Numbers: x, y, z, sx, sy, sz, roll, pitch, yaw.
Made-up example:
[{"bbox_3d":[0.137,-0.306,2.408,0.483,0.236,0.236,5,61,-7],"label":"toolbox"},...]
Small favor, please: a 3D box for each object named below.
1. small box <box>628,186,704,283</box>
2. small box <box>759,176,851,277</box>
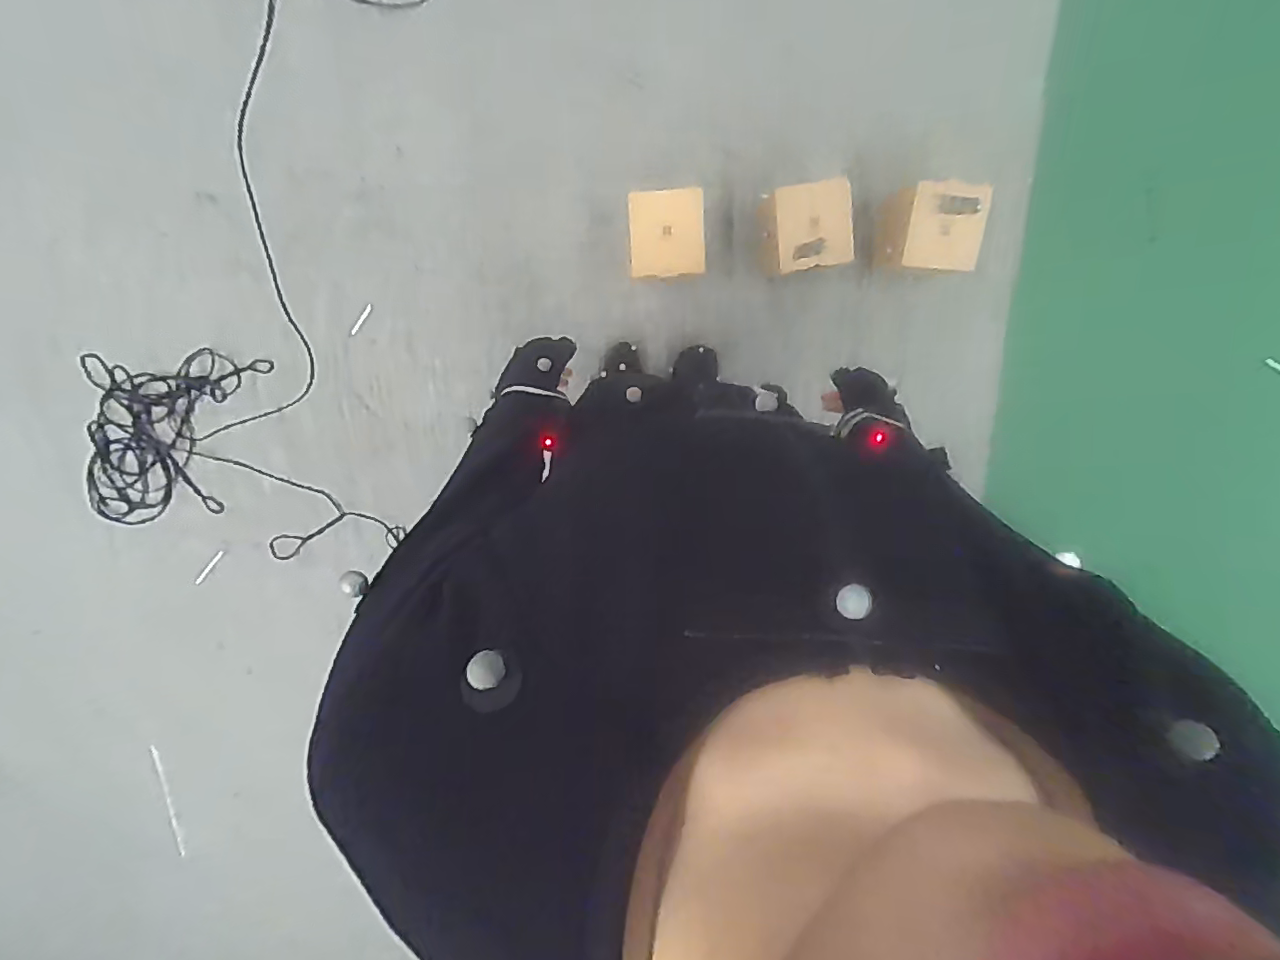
[{"bbox_3d":[0.058,-0.563,1.259,0.168,0.176,0.179,-3,105,3],"label":"small box"},{"bbox_3d":[0.376,-0.573,1.248,0.168,0.176,0.179,-7,103,3],"label":"small box"}]
